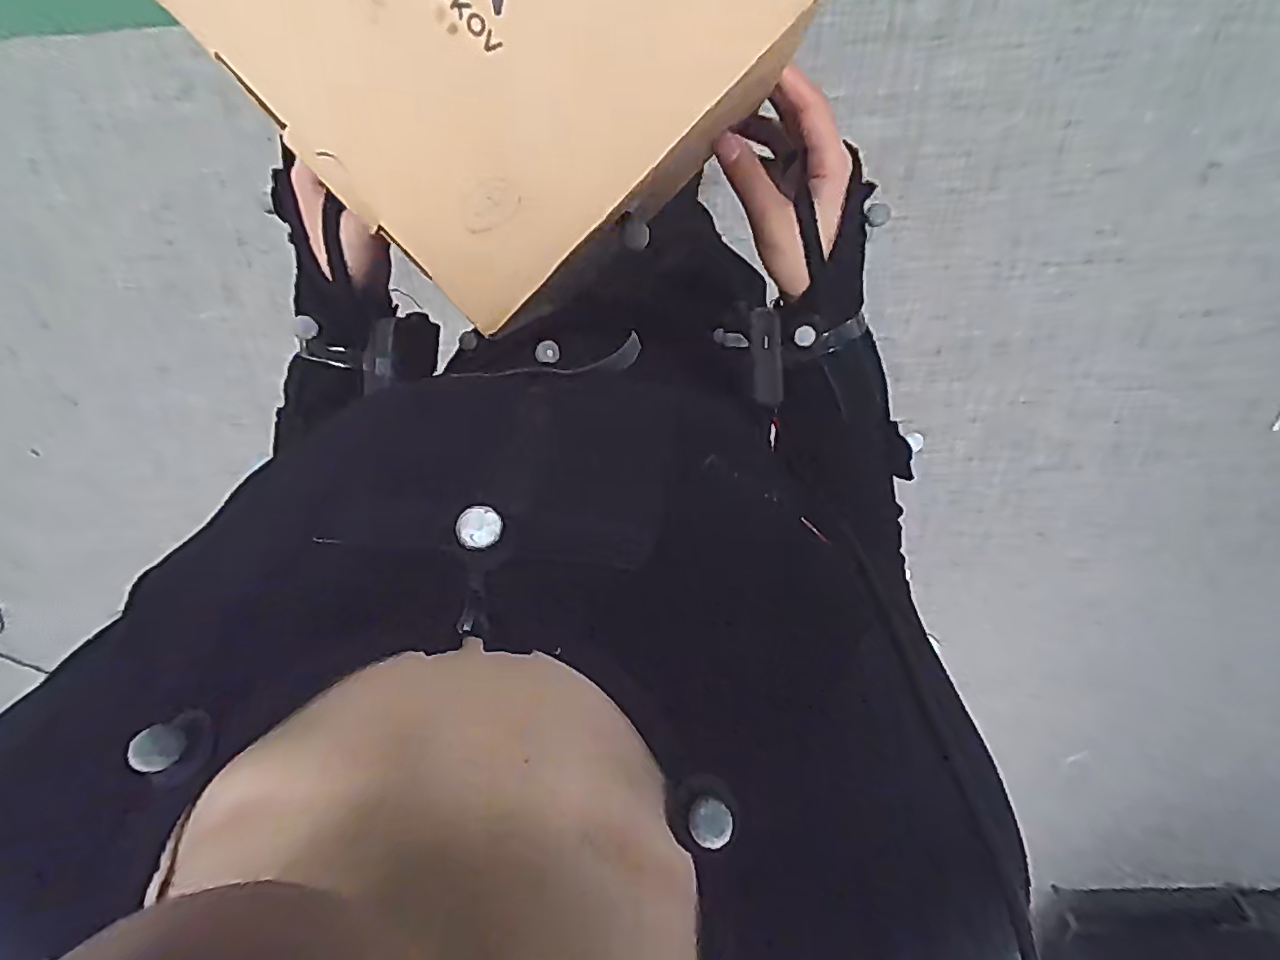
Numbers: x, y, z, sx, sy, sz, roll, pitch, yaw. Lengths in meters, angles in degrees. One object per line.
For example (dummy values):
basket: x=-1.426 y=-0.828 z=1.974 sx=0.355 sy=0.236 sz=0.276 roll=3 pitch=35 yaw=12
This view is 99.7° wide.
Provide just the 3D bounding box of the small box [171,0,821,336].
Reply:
small box: x=-0.047 y=-0.196 z=0.259 sx=0.179 sy=0.176 sz=0.168 roll=-39 pitch=105 yaw=18
